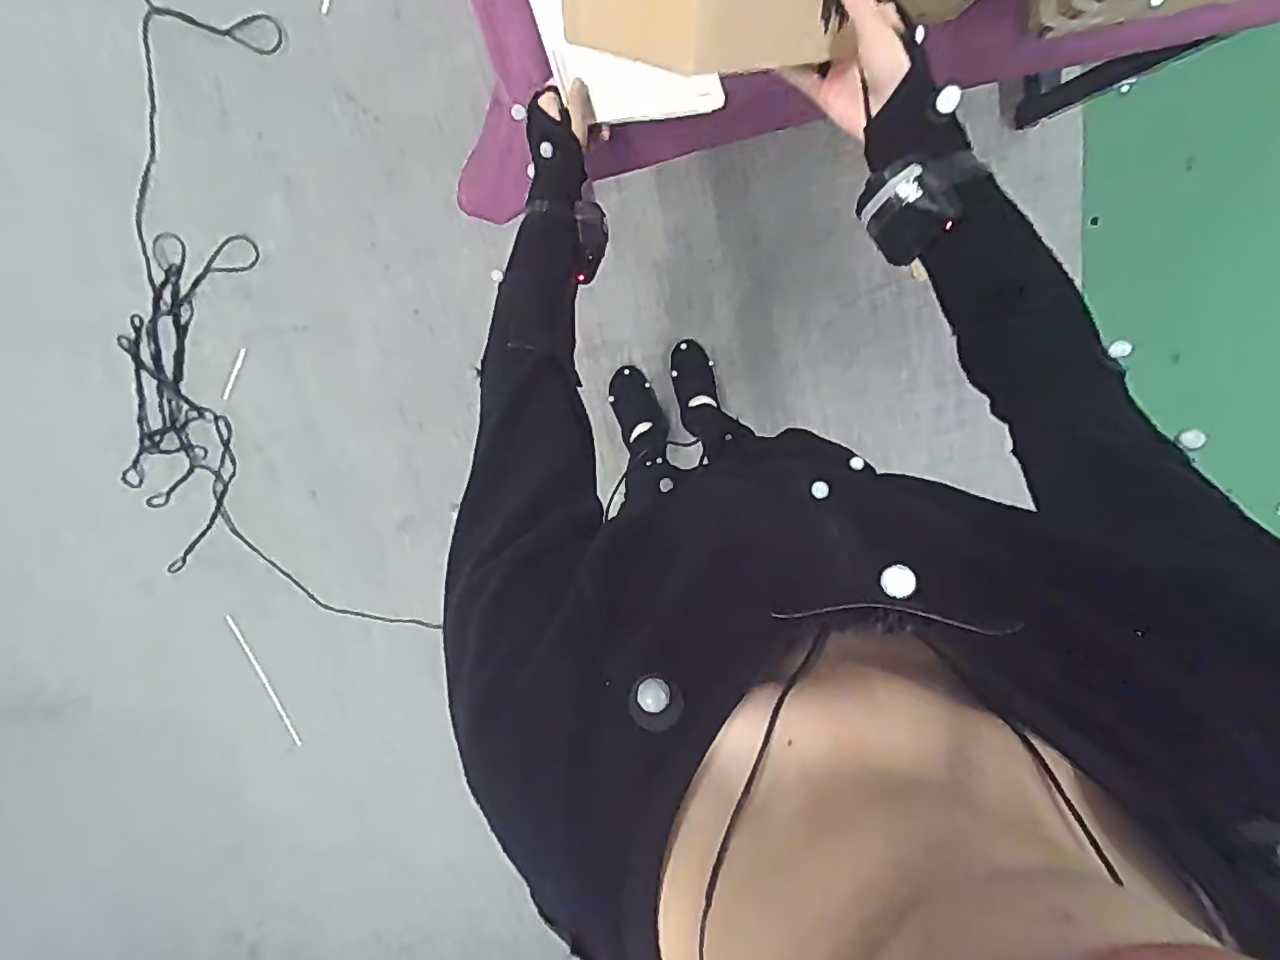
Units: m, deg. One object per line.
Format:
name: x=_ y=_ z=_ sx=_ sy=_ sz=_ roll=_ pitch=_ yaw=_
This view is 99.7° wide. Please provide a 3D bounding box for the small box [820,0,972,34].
small box: x=0.279 y=-0.577 z=0.524 sx=0.168 sy=0.176 sz=0.179 roll=-12 pitch=105 yaw=-1
